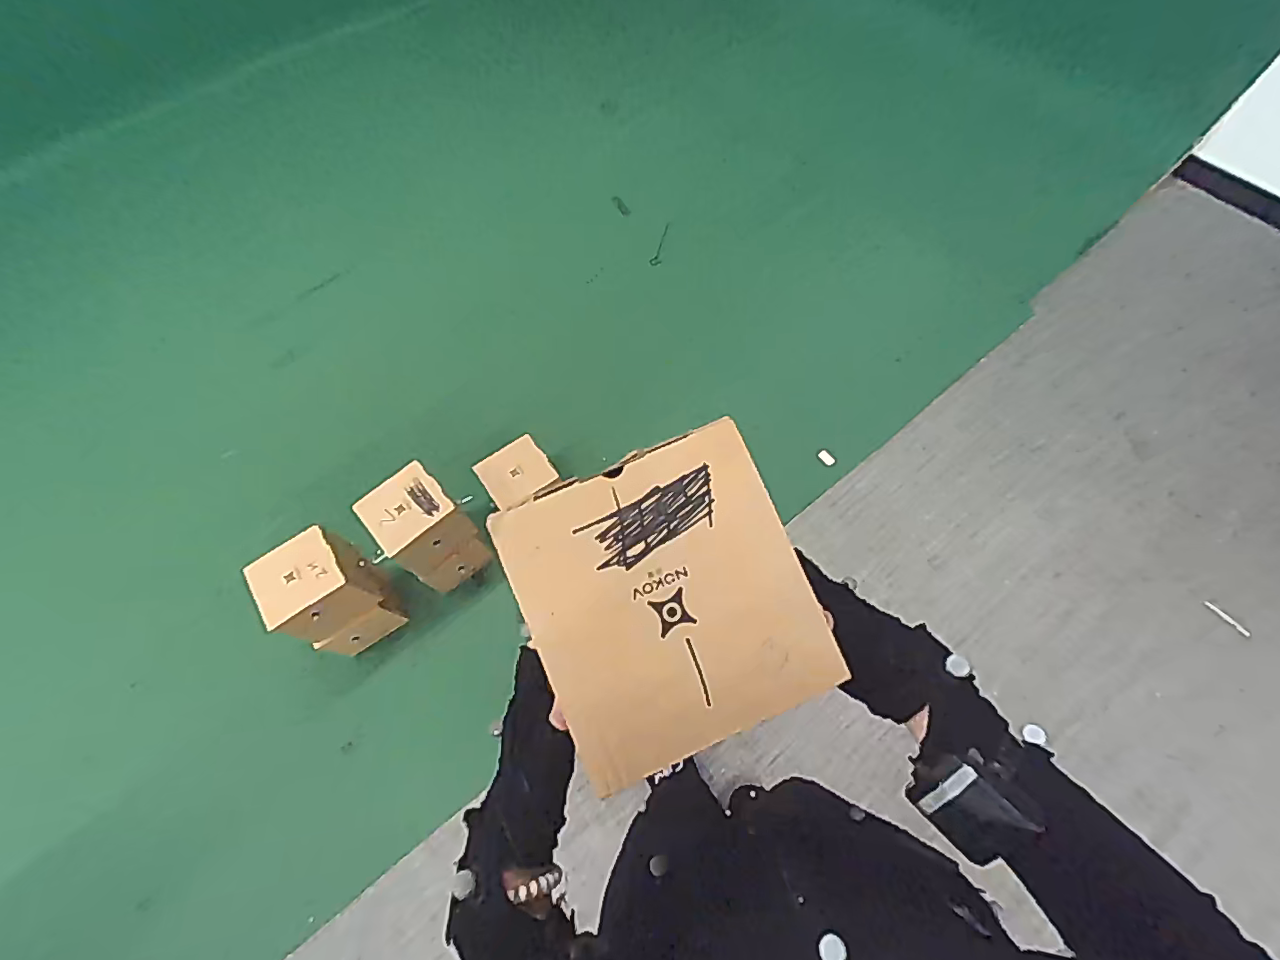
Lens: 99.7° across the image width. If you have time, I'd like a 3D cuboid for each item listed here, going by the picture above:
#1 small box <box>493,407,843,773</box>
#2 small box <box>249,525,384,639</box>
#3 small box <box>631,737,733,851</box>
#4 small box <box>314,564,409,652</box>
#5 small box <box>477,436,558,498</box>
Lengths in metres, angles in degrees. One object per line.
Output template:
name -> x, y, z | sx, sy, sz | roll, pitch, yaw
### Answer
small box -> 0.012, 0.073, 0.405 | 0.168, 0.176, 0.179 | -23, 83, -5
small box -> -0.723, 0.237, 1.222 | 0.179, 0.176, 0.168 | -33, 68, -12
small box -> 0.092, 0.674, 1.191 | 0.179, 0.176, 0.168 | 10, 77, 23
small box -> -0.717, 0.318, 1.366 | 0.168, 0.176, 0.179 | -32, 68, -12
small box -> -0.316, 0.017, 1.489 | 0.179, 0.176, 0.168 | -33, 68, -13
